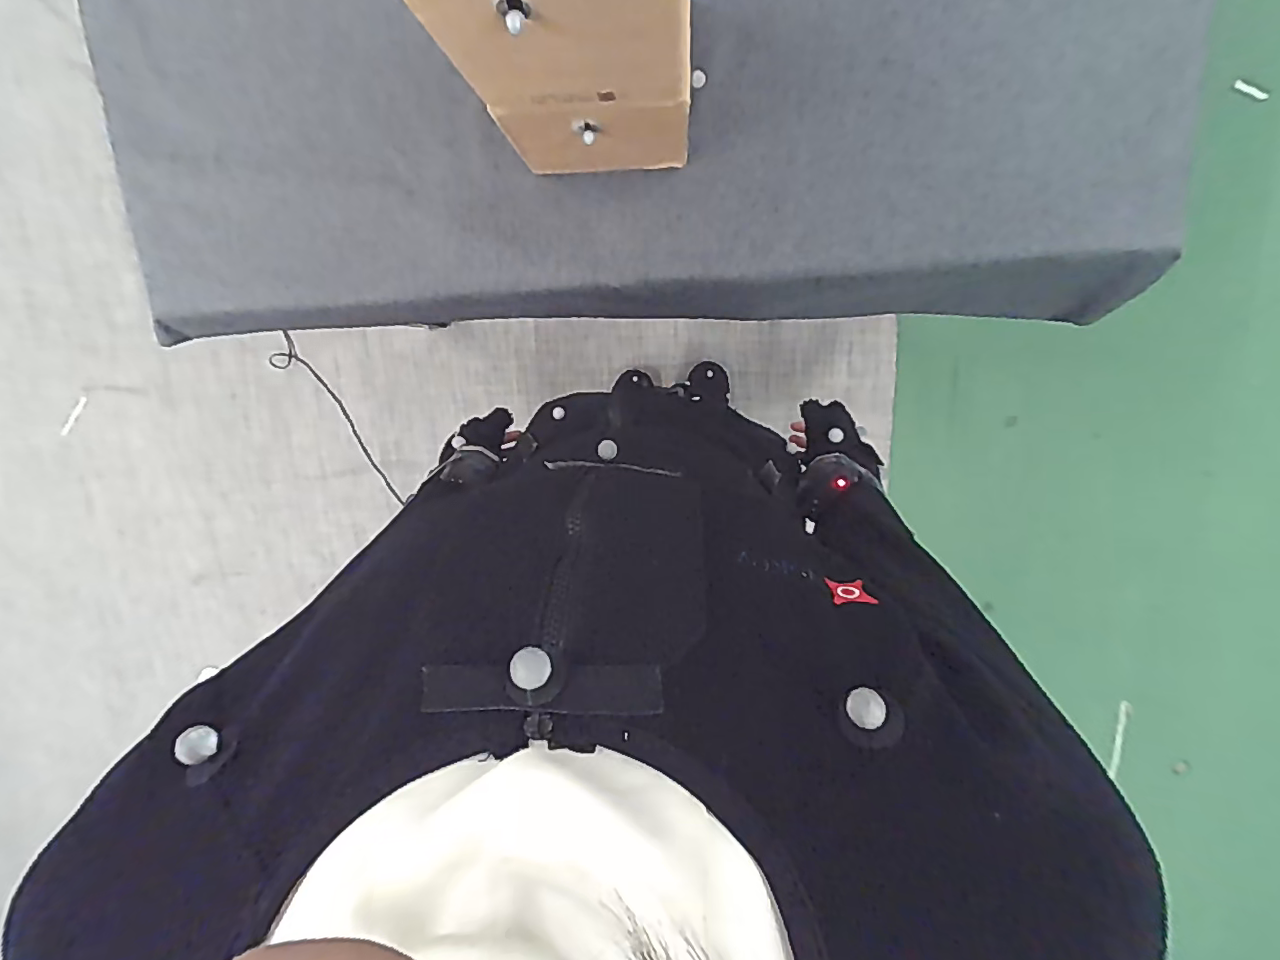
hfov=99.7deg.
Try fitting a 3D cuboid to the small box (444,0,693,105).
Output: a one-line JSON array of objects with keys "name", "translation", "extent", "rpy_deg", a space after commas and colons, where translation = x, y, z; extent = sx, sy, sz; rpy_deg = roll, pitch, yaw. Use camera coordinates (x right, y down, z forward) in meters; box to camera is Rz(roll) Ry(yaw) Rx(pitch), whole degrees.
[{"name": "small box", "translation": [-0.049, -0.390, 0.363], "extent": [0.168, 0.176, 0.179], "rpy_deg": [-2, 104, 4]}]

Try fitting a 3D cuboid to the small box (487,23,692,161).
[{"name": "small box", "translation": [-0.039, -0.425, 0.520], "extent": [0.179, 0.176, 0.168], "rpy_deg": [0, 104, 4]}]
